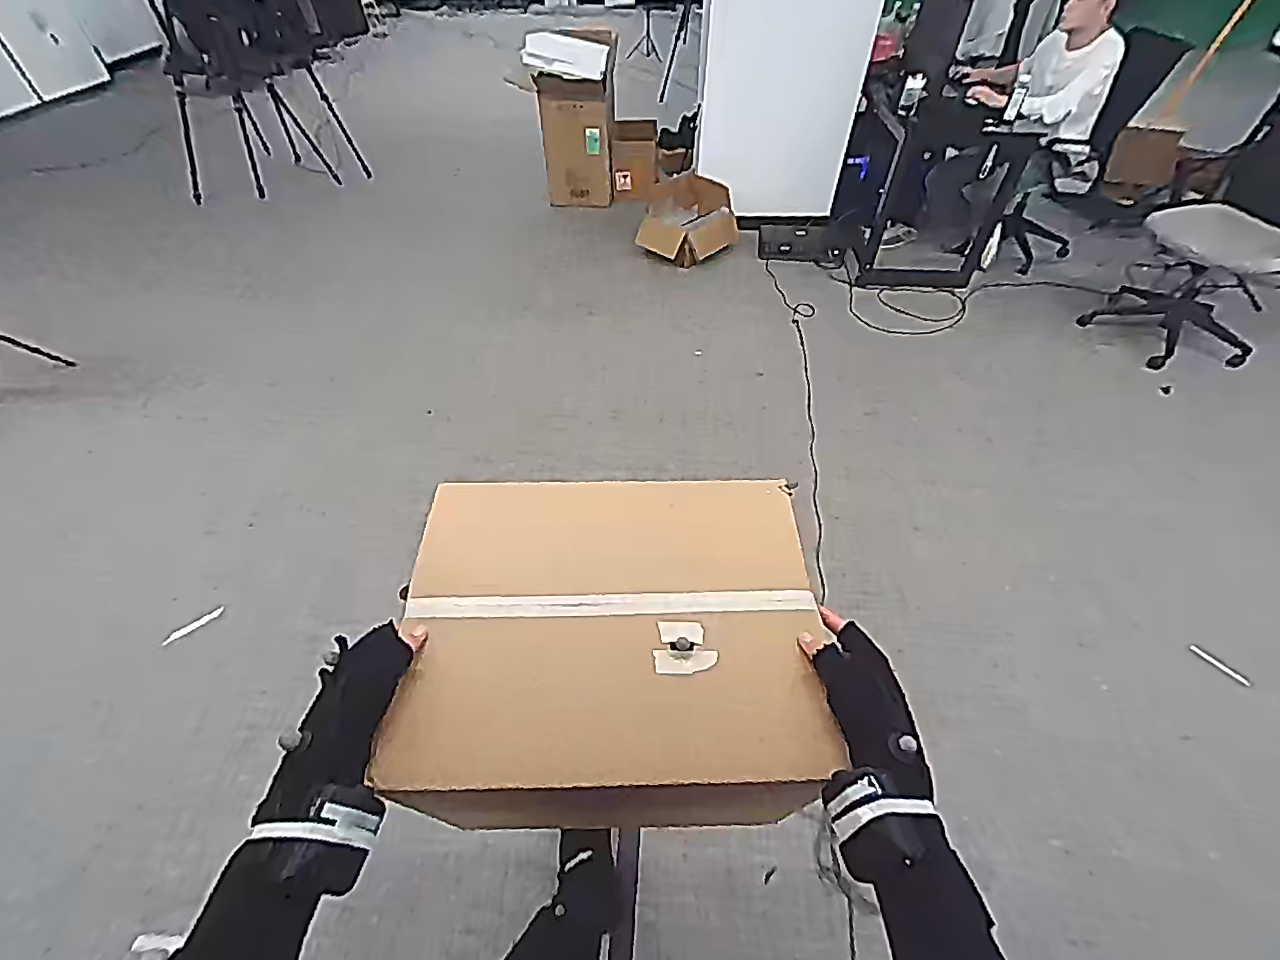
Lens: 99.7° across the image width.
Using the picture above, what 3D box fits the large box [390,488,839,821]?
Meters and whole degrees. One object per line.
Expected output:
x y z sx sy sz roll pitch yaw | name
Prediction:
-0.029 0.224 0.678 0.408 0.320 0.320 0 53 -2 | large box
